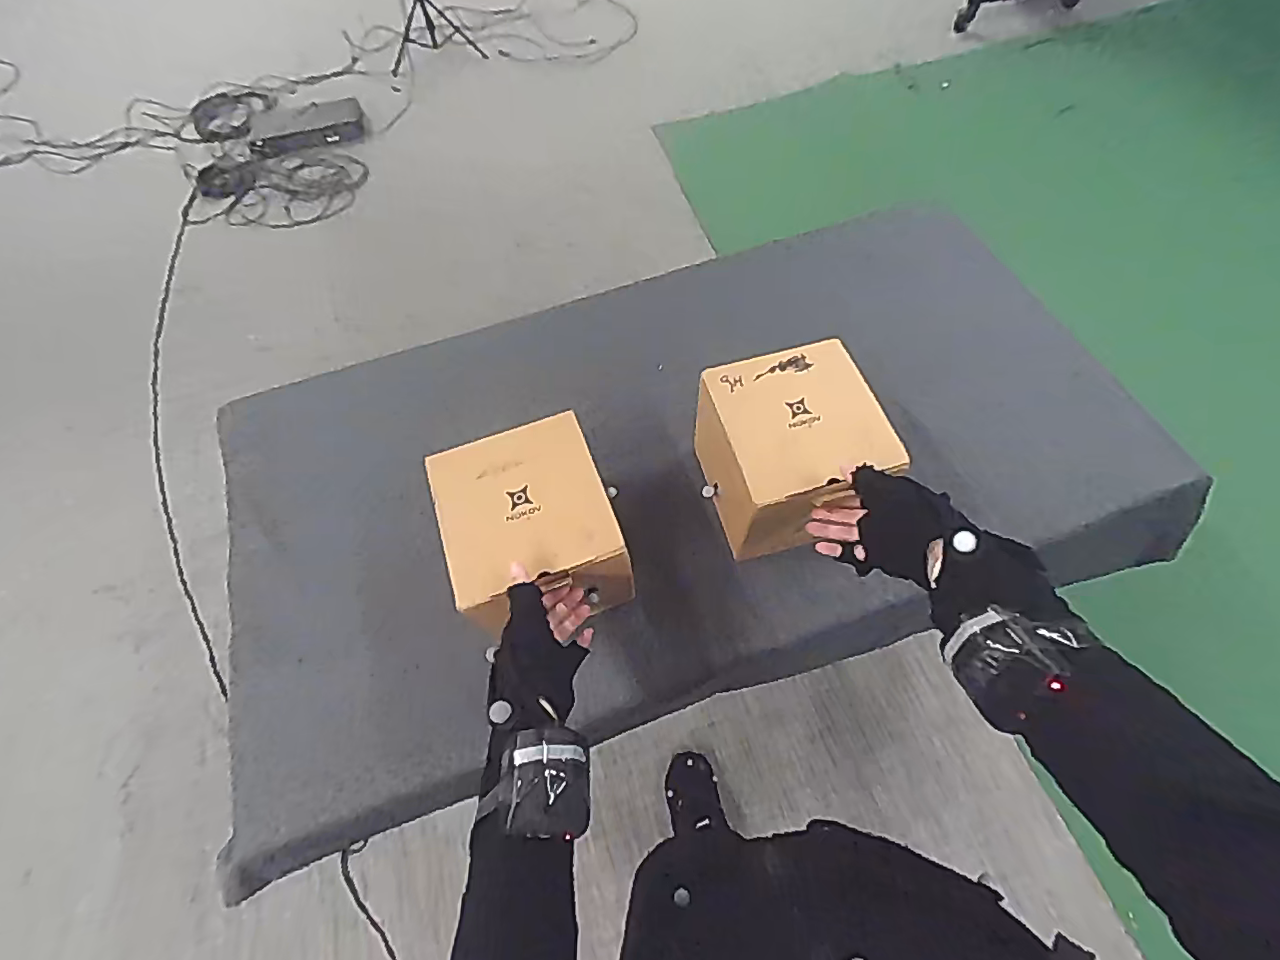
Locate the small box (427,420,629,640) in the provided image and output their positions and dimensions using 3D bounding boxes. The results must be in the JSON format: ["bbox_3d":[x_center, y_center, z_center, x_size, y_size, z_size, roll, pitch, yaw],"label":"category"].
[{"bbox_3d":[-0.118,0.068,0.618,0.168,0.176,0.179,-20,61,-9],"label":"small box"}]

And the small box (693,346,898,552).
[{"bbox_3d":[0.167,-0.025,0.647,0.168,0.176,0.179,-14,64,-5],"label":"small box"}]
